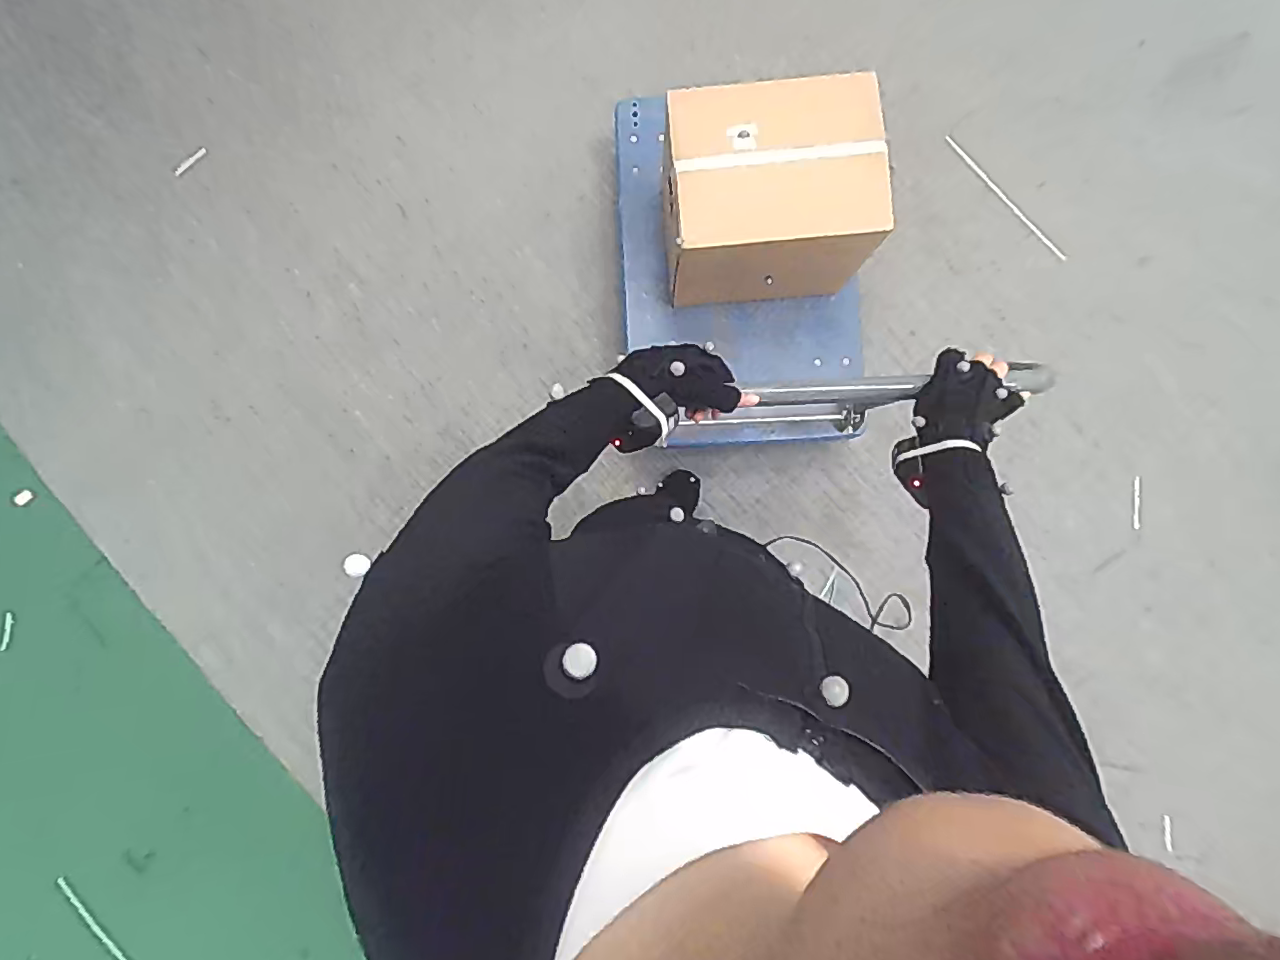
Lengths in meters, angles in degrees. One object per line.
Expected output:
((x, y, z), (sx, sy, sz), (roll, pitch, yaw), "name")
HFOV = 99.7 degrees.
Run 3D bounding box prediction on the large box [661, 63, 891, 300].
((0.263, -0.610, 1.168), (0.408, 0.320, 0.320), (-6, 88, 1), "large box")
